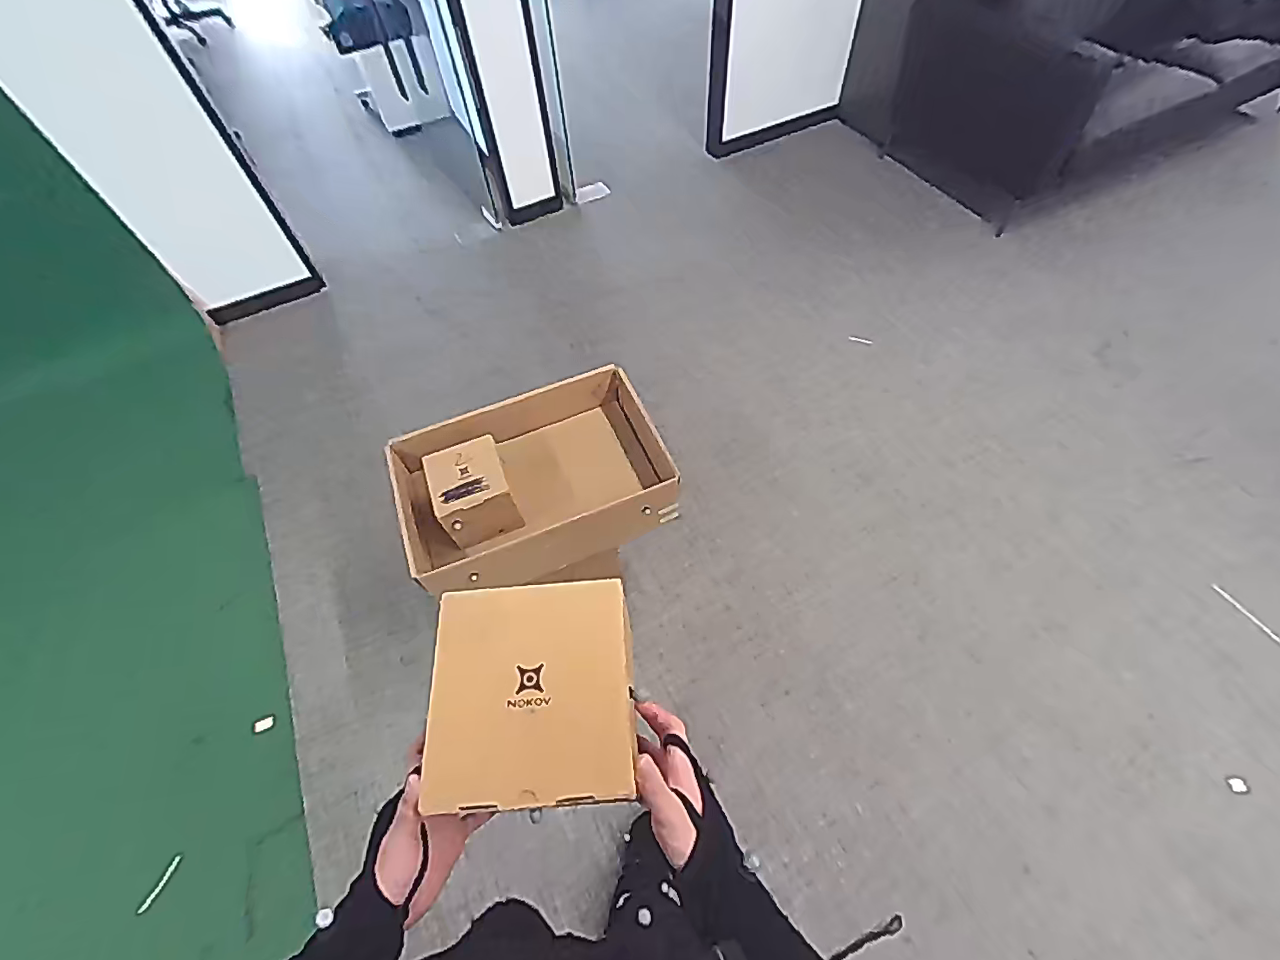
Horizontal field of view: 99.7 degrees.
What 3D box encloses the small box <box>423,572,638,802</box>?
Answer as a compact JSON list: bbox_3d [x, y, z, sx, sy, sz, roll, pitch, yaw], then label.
[{"bbox_3d":[-0.090,0.204,0.523,0.168,0.176,0.179,-5,61,-1],"label":"small box"}]
